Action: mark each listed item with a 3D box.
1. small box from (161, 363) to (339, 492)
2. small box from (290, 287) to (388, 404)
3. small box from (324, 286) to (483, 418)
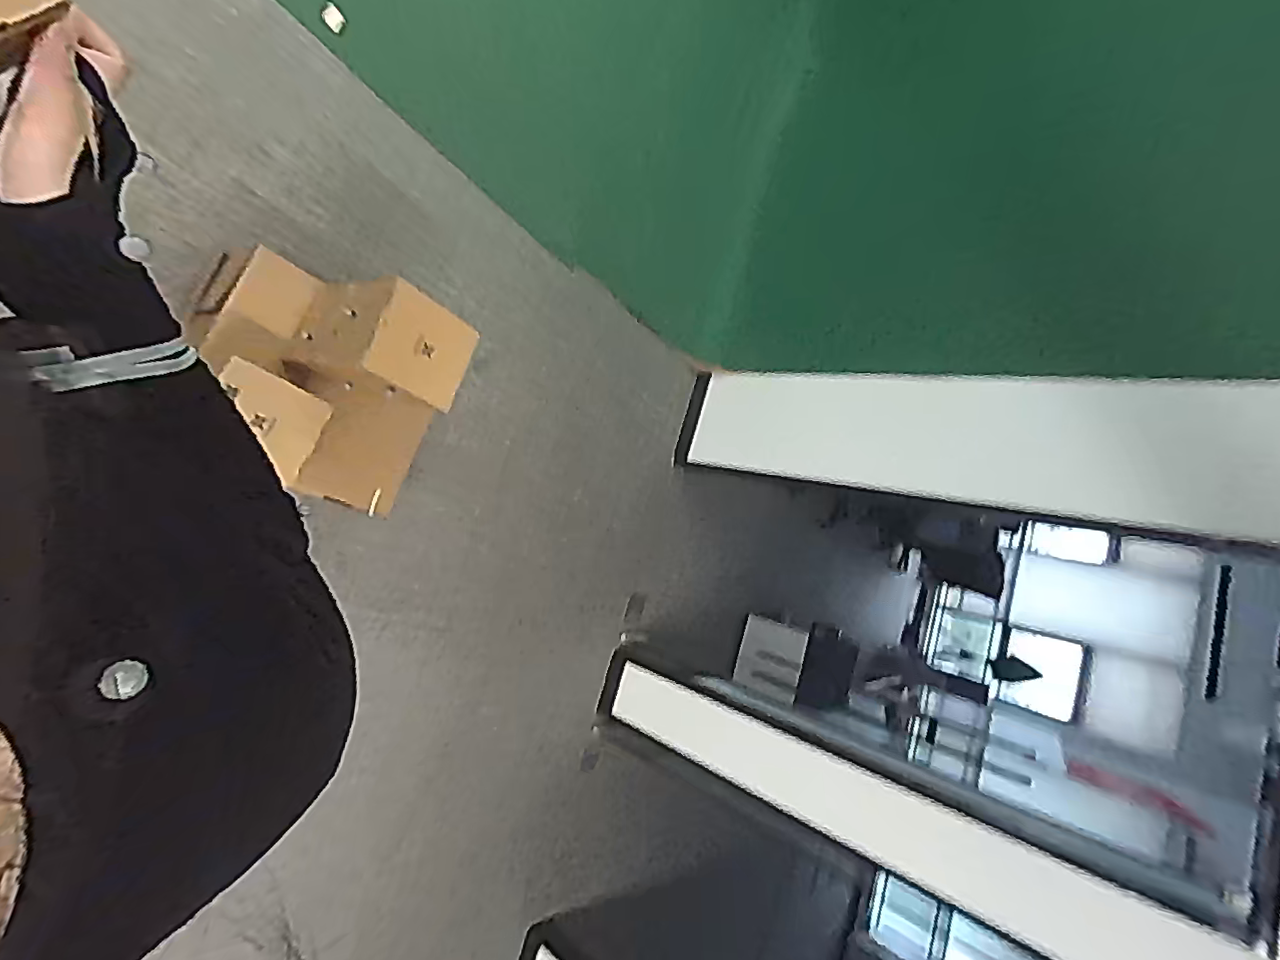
[{"bbox_3d":[-0.687,-0.097,0.955,0.179,0.176,0.168,37,69,-50],"label":"small box"},{"bbox_3d":[-0.558,-0.259,1.086,0.179,0.176,0.168,35,71,-51],"label":"small box"},{"bbox_3d":[-0.430,-0.230,0.988,0.179,0.176,0.168,33,72,-48],"label":"small box"}]
